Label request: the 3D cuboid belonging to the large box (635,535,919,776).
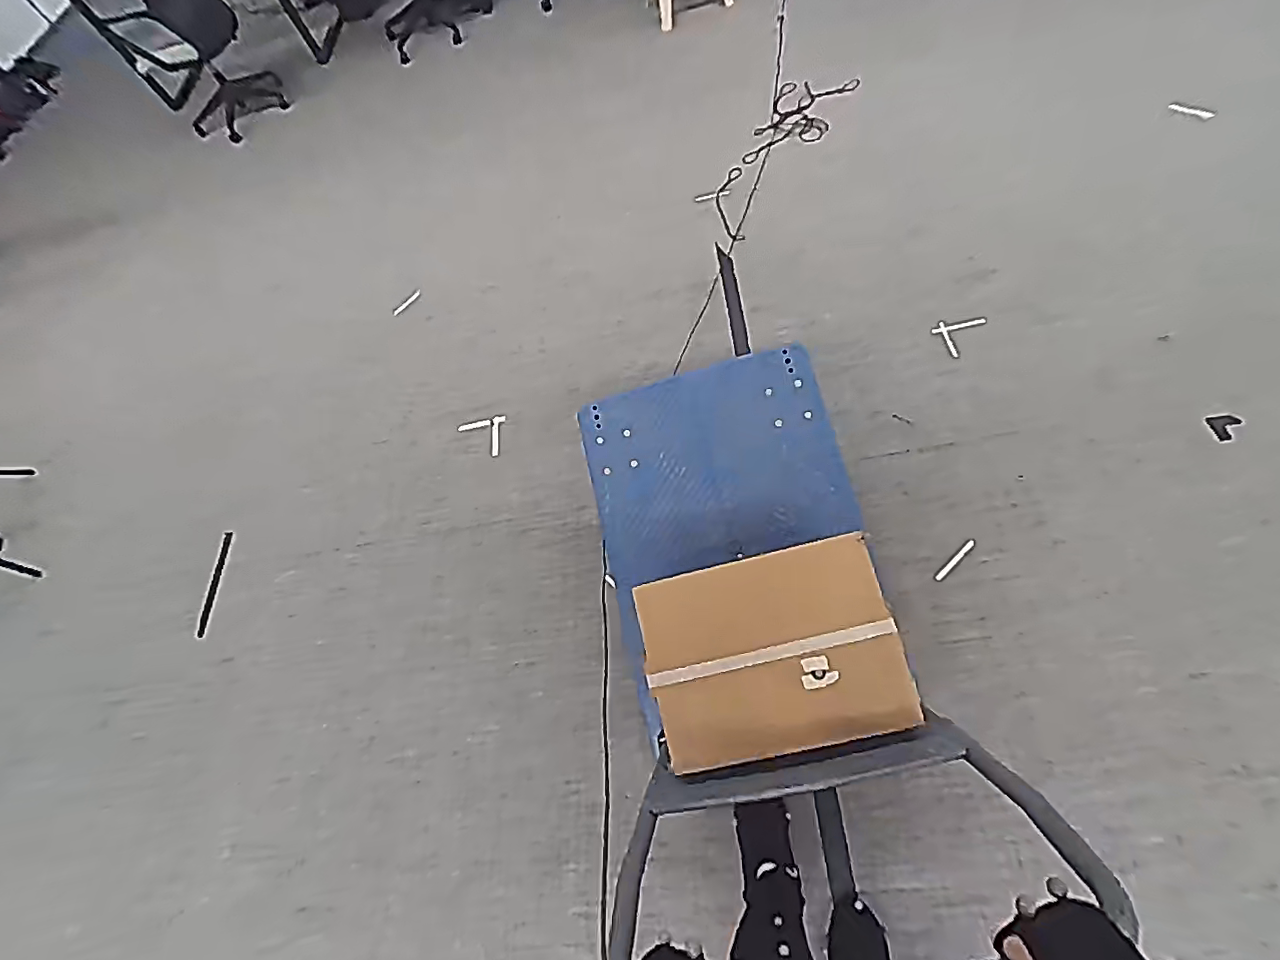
[{"bbox_3d":[0.239,0.320,1.049,0.408,0.320,0.320,-16,79,6],"label":"large box"}]
